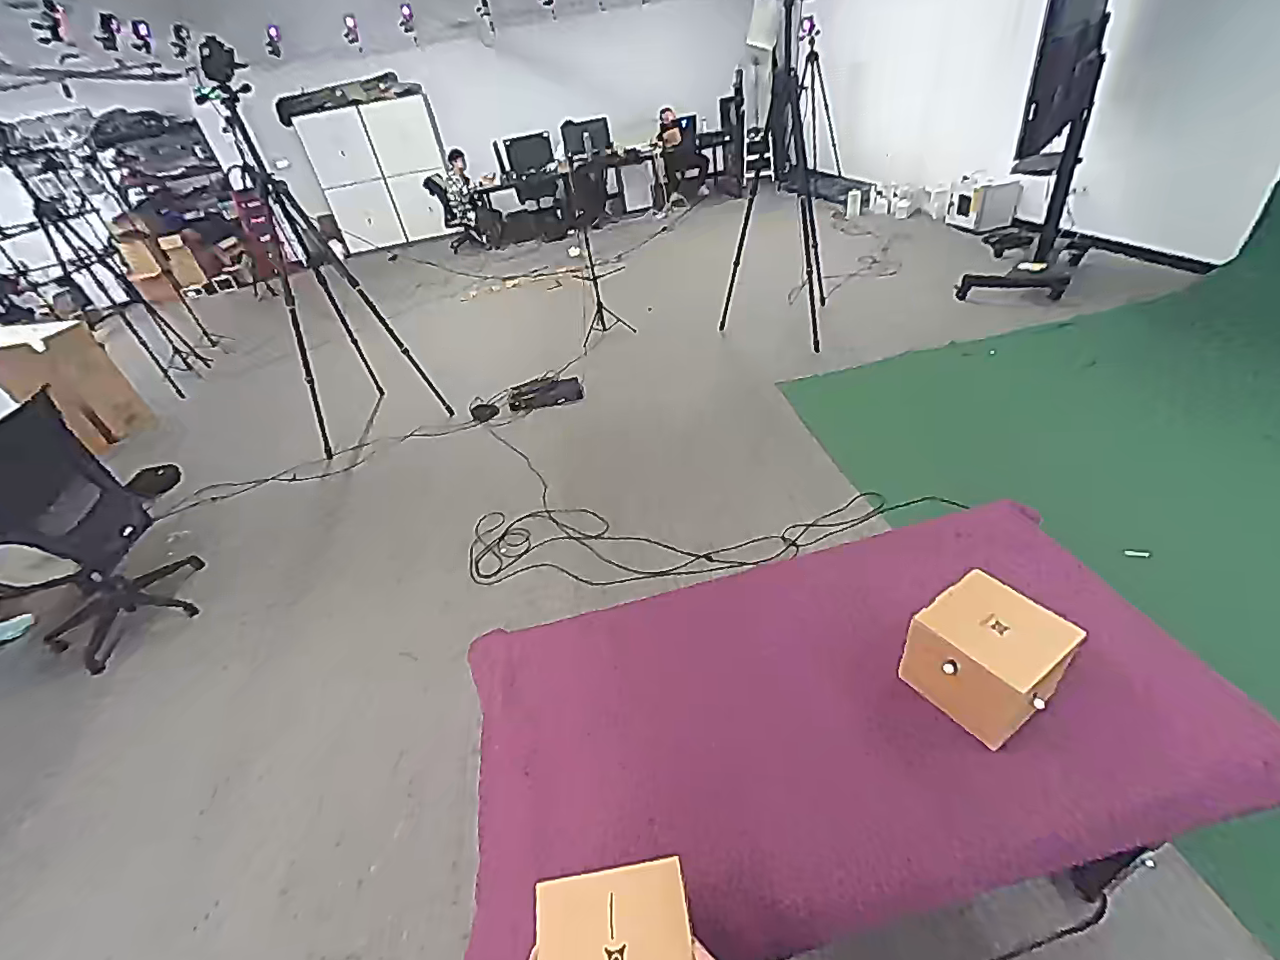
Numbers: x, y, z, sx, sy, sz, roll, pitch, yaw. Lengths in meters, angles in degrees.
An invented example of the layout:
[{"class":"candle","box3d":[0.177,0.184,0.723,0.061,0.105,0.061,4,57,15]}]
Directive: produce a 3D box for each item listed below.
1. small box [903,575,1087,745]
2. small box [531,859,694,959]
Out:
[{"class":"small box","box3d":[0.561,0.297,0.879,0.168,0.176,0.179,-27,39,-20]},{"class":"small box","box3d":[-0.022,0.552,0.605,0.168,0.176,0.179,-9,46,-2]}]
